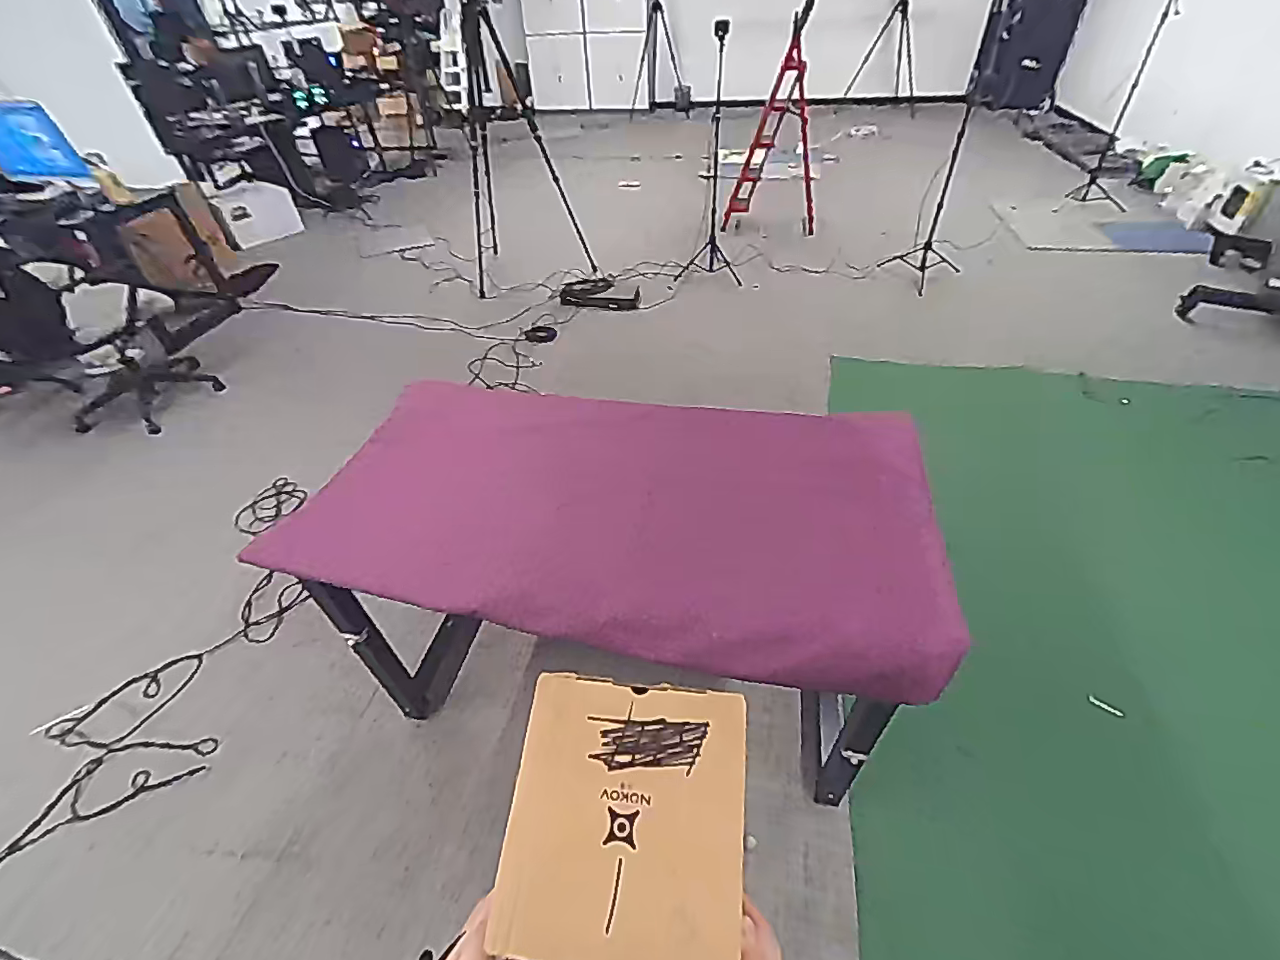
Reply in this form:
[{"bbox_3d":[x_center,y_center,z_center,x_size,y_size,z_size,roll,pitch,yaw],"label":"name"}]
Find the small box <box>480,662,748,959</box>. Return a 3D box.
[{"bbox_3d":[-0.004,0.266,0.441,0.168,0.176,0.179,3,59,9],"label":"small box"}]
